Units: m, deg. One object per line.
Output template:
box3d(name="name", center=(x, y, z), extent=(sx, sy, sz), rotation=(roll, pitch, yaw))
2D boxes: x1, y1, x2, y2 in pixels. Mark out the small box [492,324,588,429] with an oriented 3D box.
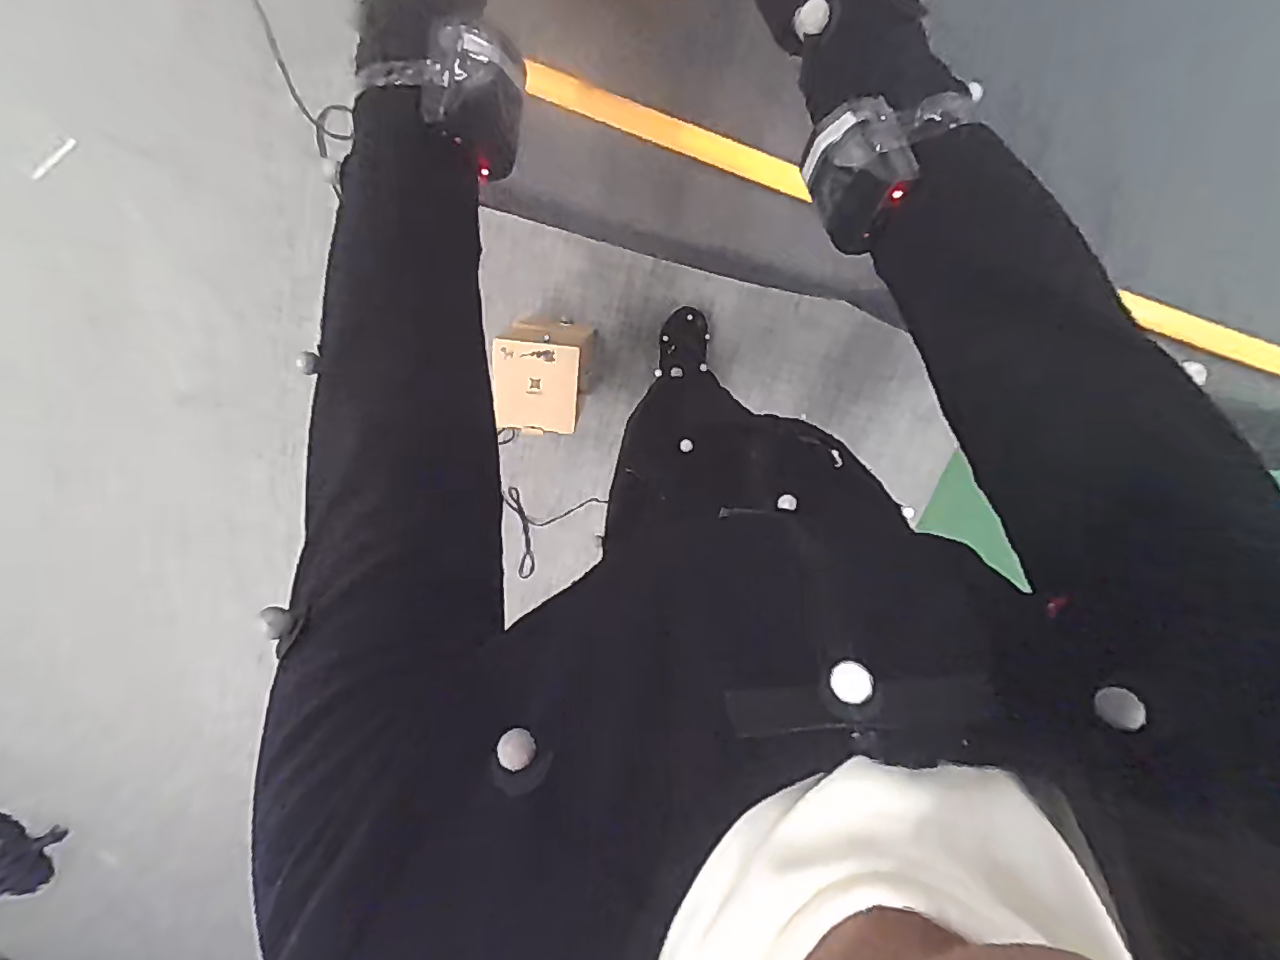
box3d(name="small box", center=(-0.201, -0.220, 1.124), extent=(0.168, 0.176, 0.179), rotation=(4, 112, 0))
